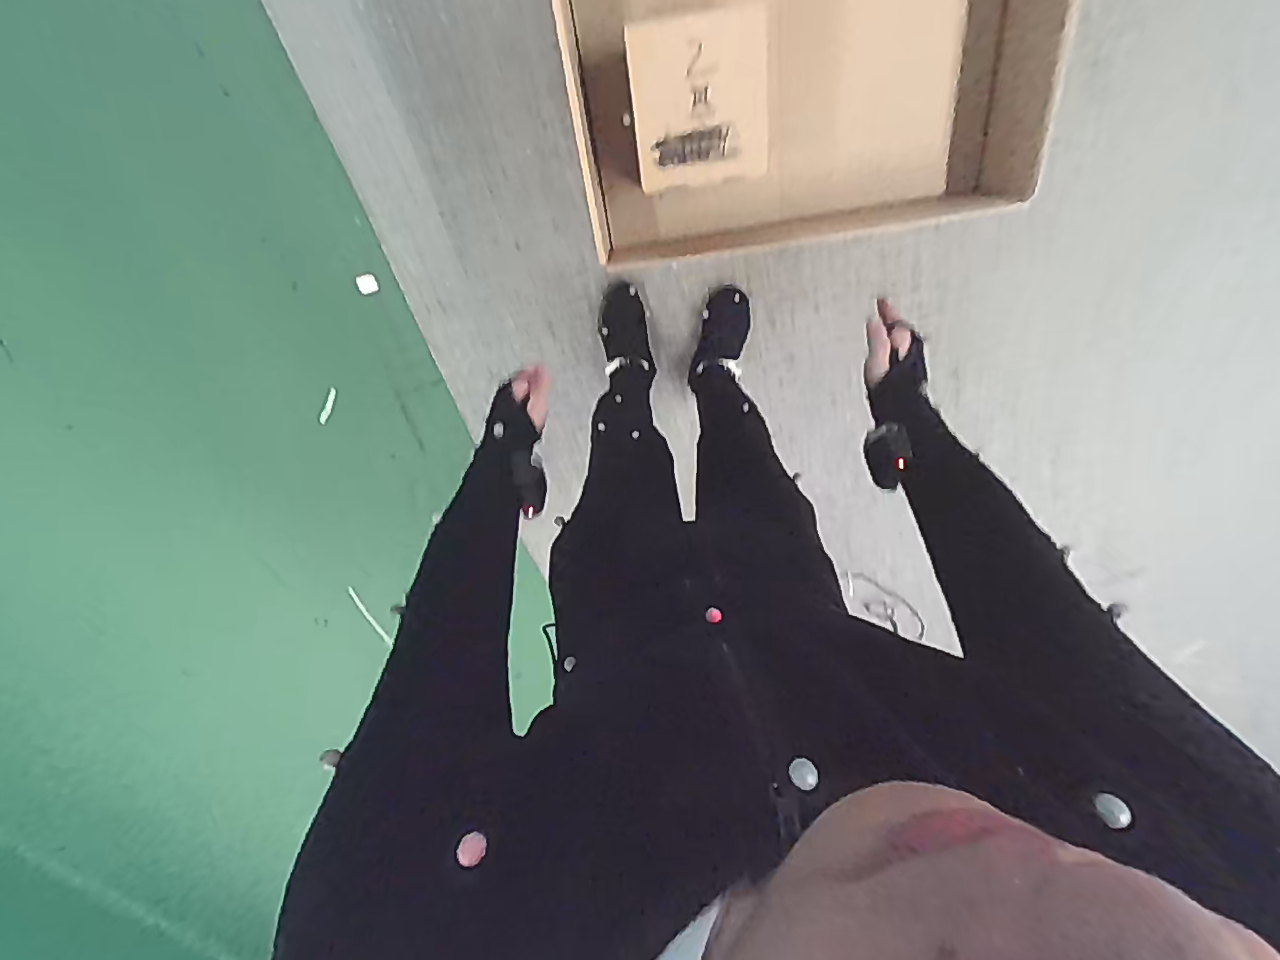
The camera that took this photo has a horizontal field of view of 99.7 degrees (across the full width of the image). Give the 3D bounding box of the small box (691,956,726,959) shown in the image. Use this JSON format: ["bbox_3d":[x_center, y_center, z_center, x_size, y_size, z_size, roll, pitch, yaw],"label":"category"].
[{"bbox_3d":[0.217,1.654,1.720,0.168,0.176,0.179,-16,122,6],"label":"small box"}]
